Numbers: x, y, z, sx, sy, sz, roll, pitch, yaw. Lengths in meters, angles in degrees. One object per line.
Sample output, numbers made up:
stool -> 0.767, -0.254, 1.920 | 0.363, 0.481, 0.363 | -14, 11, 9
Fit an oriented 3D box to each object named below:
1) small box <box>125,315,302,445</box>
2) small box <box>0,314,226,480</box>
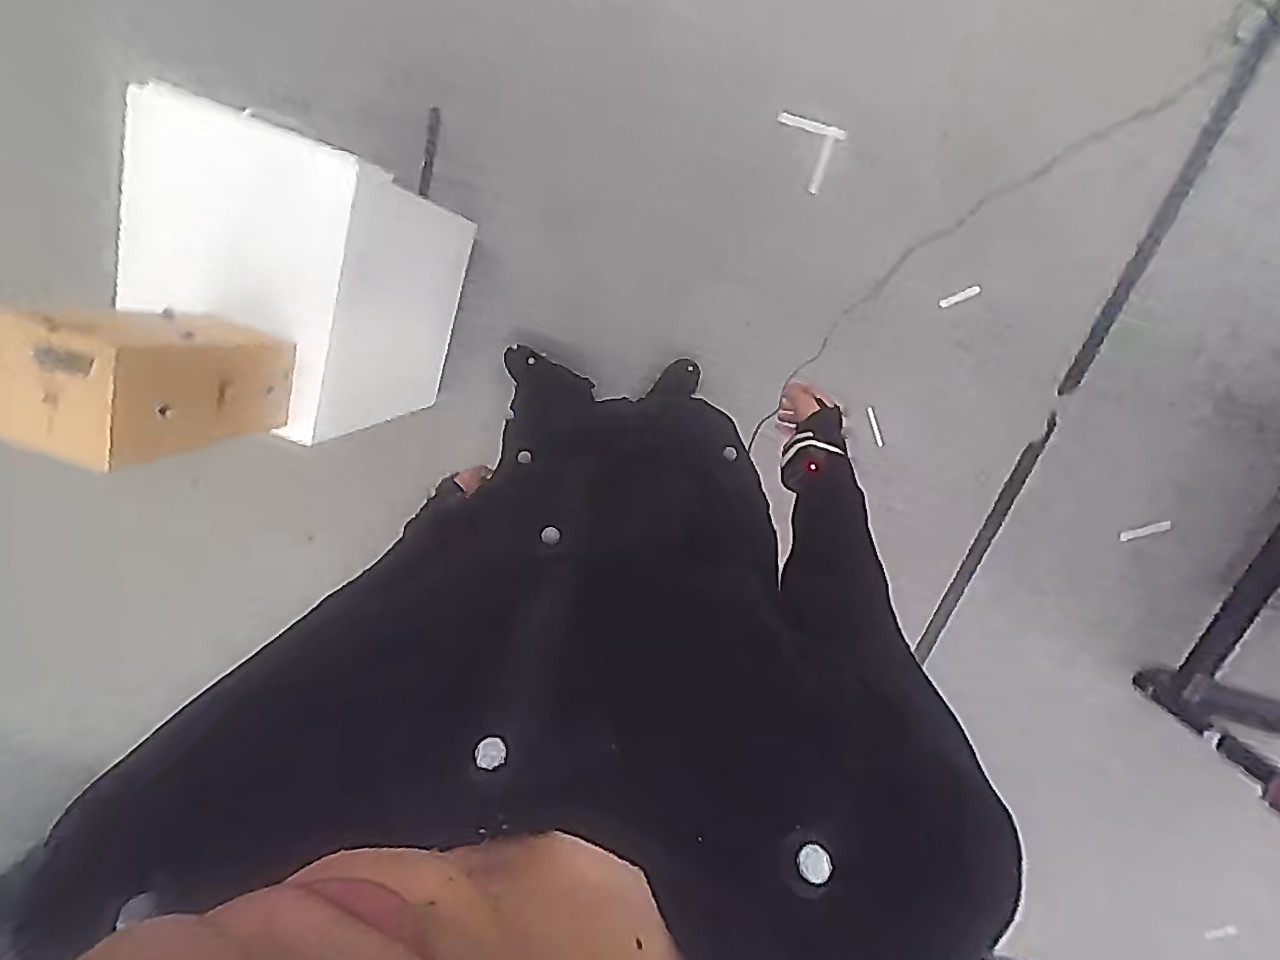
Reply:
small box -> -0.731, -0.175, 0.933 | 0.179, 0.176, 0.168 | 18, 107, 0
small box -> -0.739, -0.126, 0.775 | 0.168, 0.176, 0.179 | 19, 107, 0
